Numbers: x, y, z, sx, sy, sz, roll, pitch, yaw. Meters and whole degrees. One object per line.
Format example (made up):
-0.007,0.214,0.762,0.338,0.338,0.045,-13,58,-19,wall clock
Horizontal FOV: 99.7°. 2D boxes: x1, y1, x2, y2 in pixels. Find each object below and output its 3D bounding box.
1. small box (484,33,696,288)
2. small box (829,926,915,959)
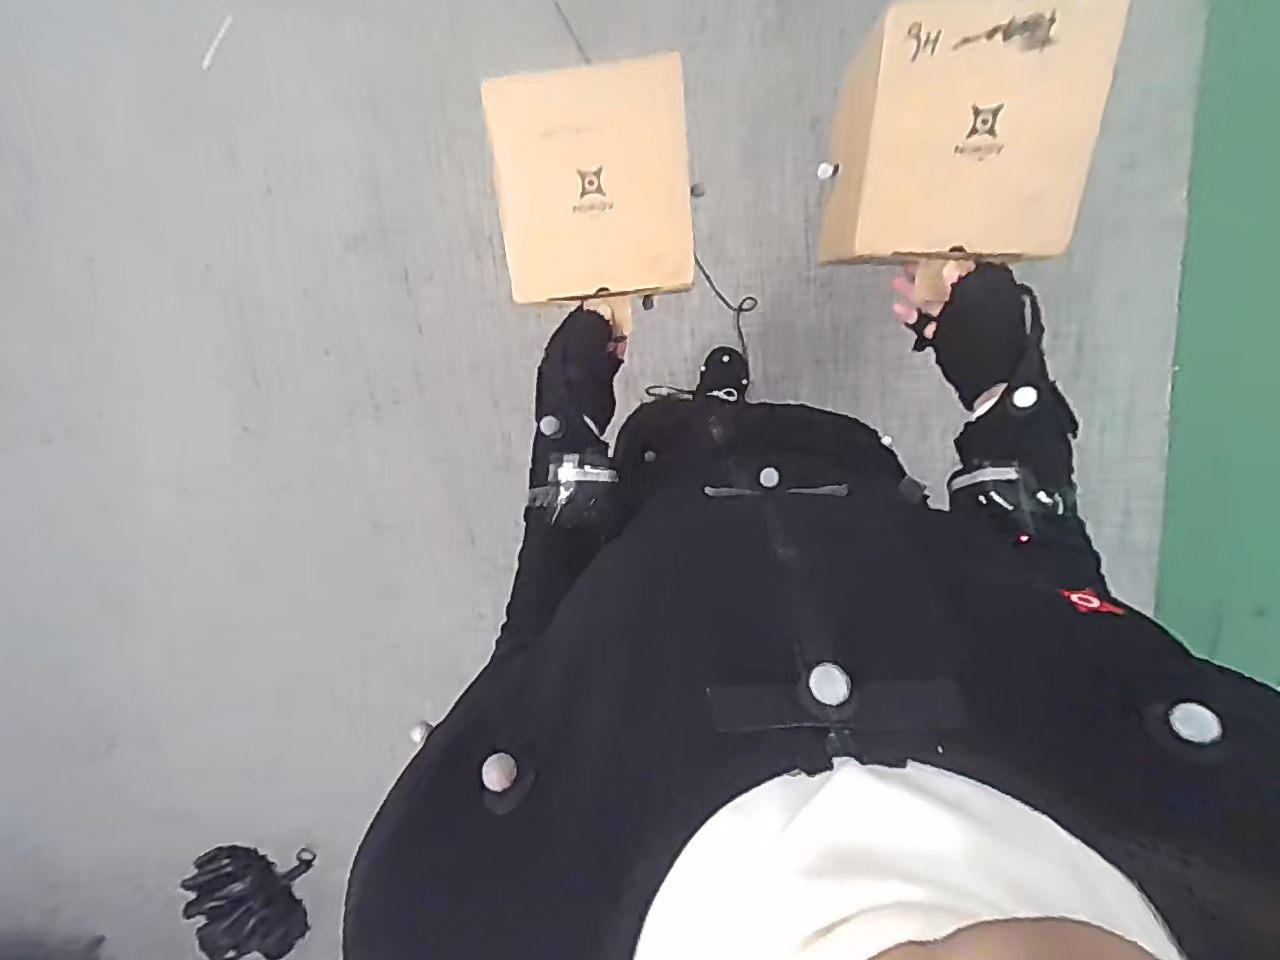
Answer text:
-0.033,-0.287,0.528,0.168,0.176,0.179,-5,108,4,small box
0.530,1.156,1.217,0.179,0.176,0.168,2,97,4,small box
